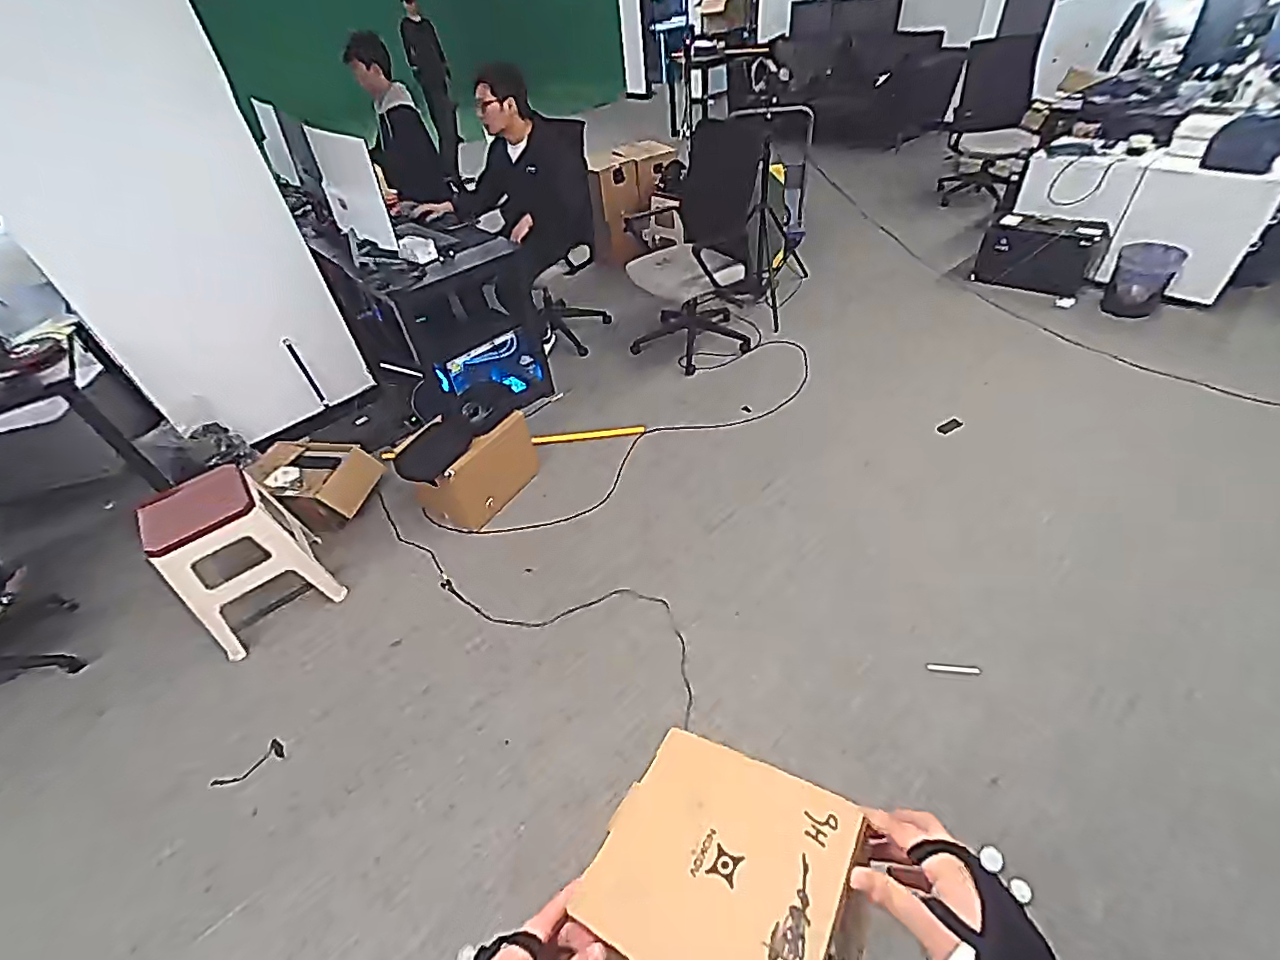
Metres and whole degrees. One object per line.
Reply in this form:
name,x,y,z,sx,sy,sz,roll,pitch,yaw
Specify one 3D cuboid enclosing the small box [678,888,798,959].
small box,0.160,0.862,0.927,0.168,0.176,0.179,30,53,31
